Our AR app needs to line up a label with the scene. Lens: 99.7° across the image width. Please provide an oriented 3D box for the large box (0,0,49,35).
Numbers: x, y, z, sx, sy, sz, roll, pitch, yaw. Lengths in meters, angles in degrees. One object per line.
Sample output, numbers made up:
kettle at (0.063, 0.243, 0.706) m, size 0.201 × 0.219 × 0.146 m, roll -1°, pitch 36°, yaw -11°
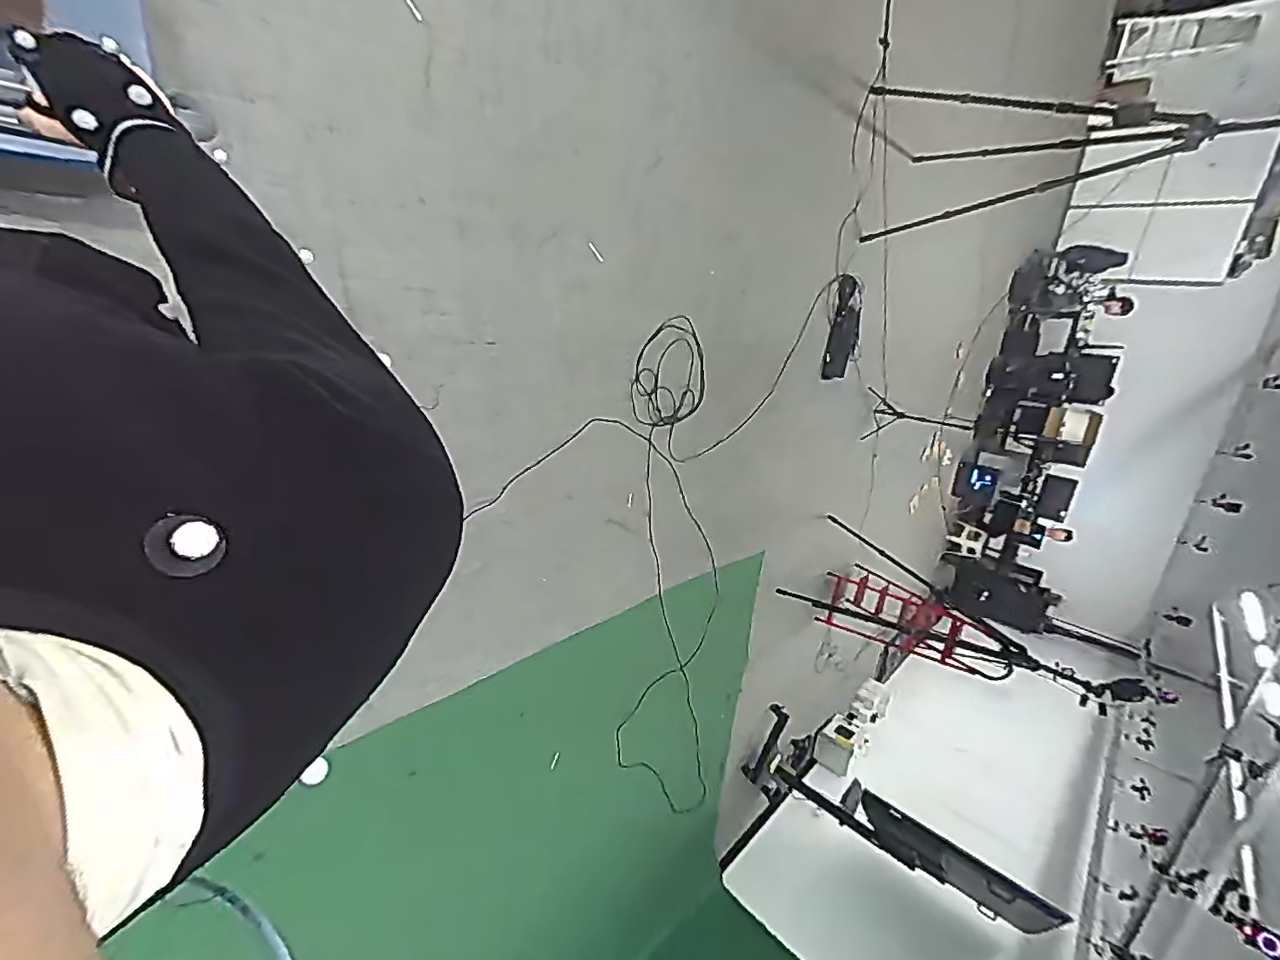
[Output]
large box at (-0.983, -0.846, 0.634) m, size 0.320 × 0.320 × 0.408 m, roll -17°, pitch 118°, yaw -43°
